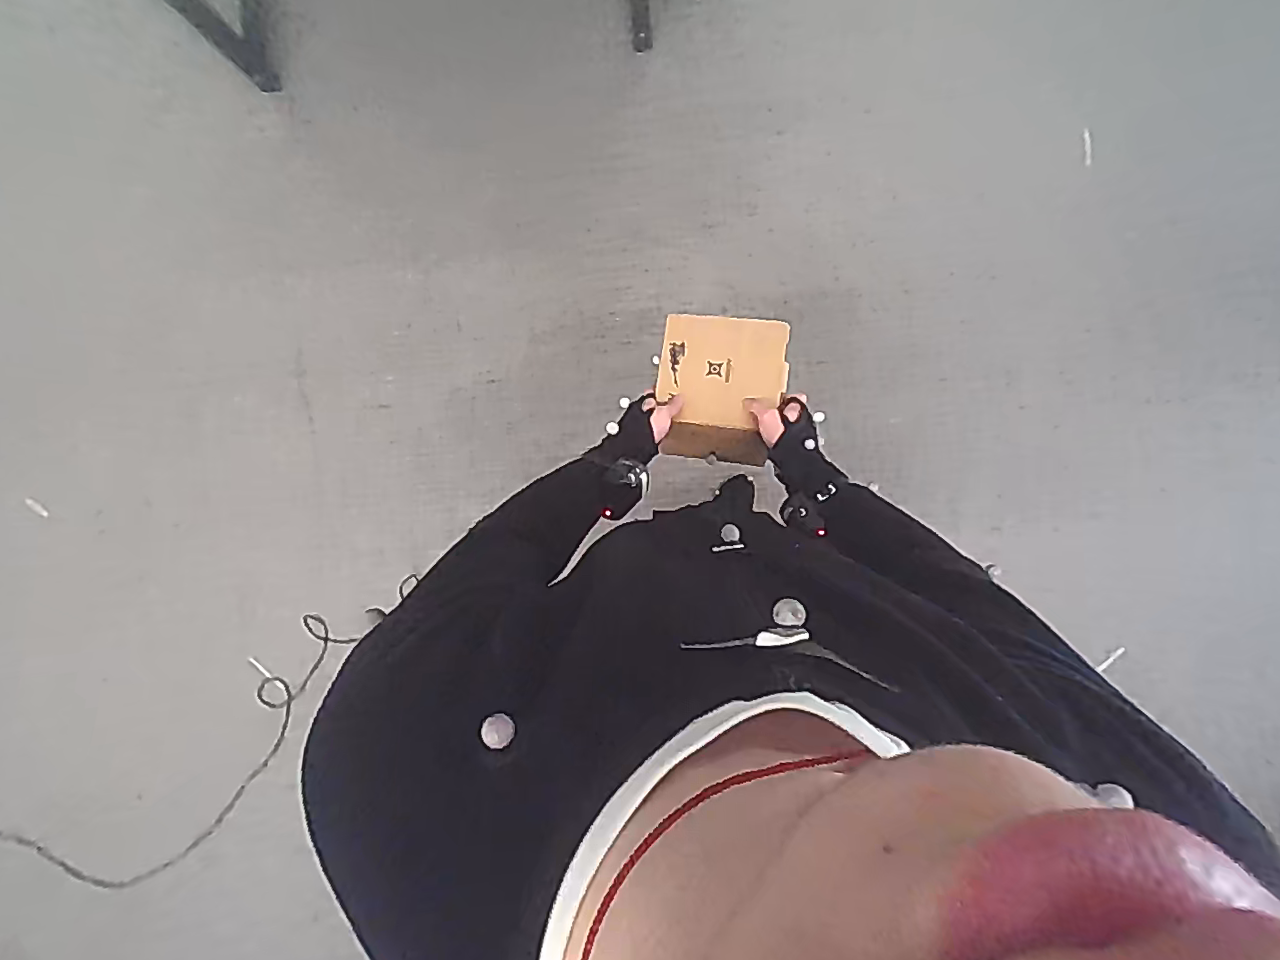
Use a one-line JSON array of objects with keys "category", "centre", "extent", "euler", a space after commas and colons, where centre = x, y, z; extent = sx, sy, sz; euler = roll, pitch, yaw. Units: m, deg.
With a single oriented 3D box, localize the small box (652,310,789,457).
[{"category": "small box", "centre": [0.120, -0.139, 0.831], "extent": [0.179, 0.176, 0.168], "euler": [7, 77, 7]}]
